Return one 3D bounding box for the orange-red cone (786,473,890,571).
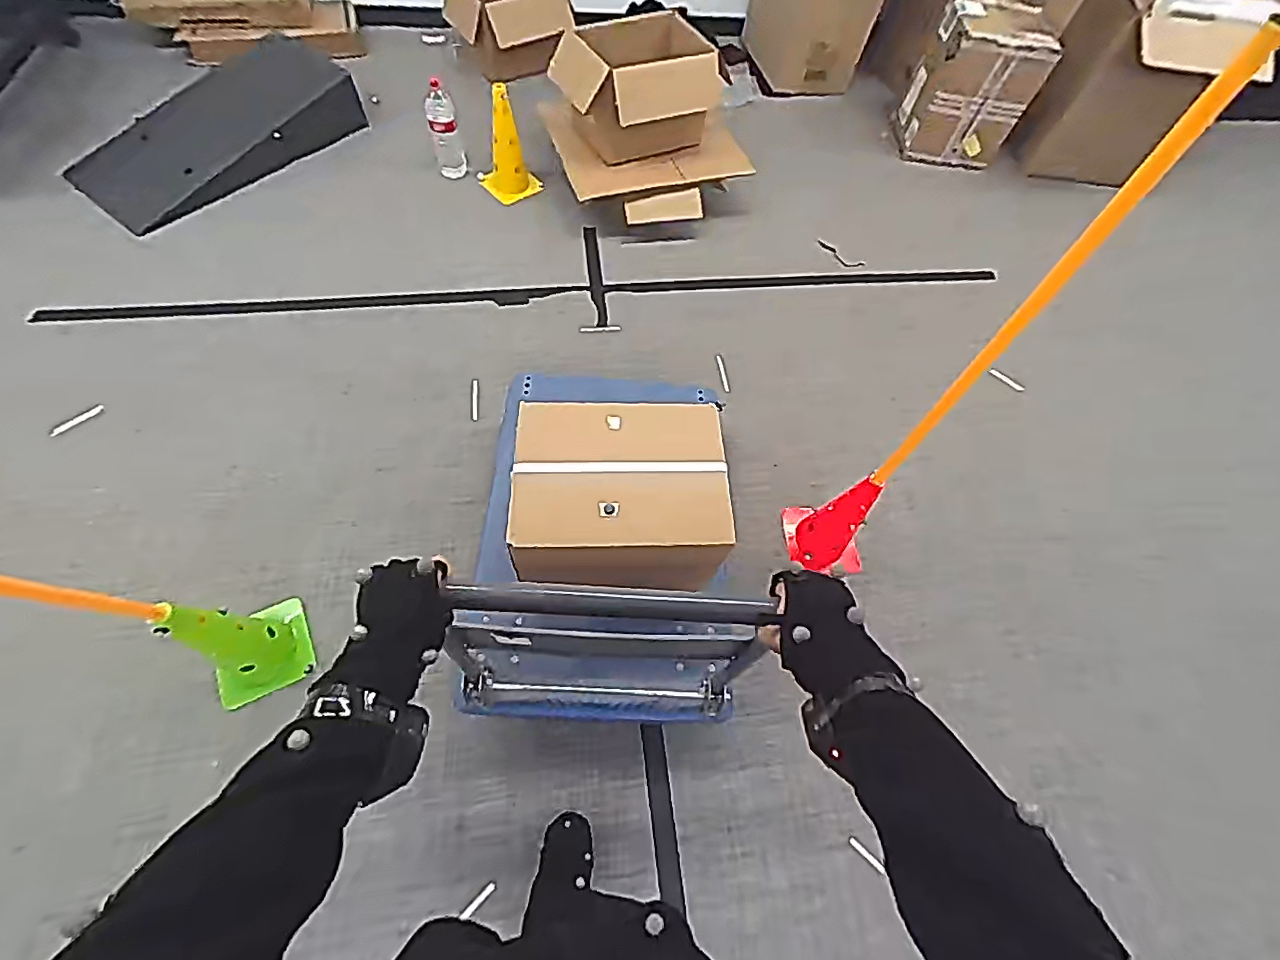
[{"bbox_3d":[0.530,0.081,1.366,0.199,0.360,0.198,1,62,-6],"label":"orange-red cone"}]
